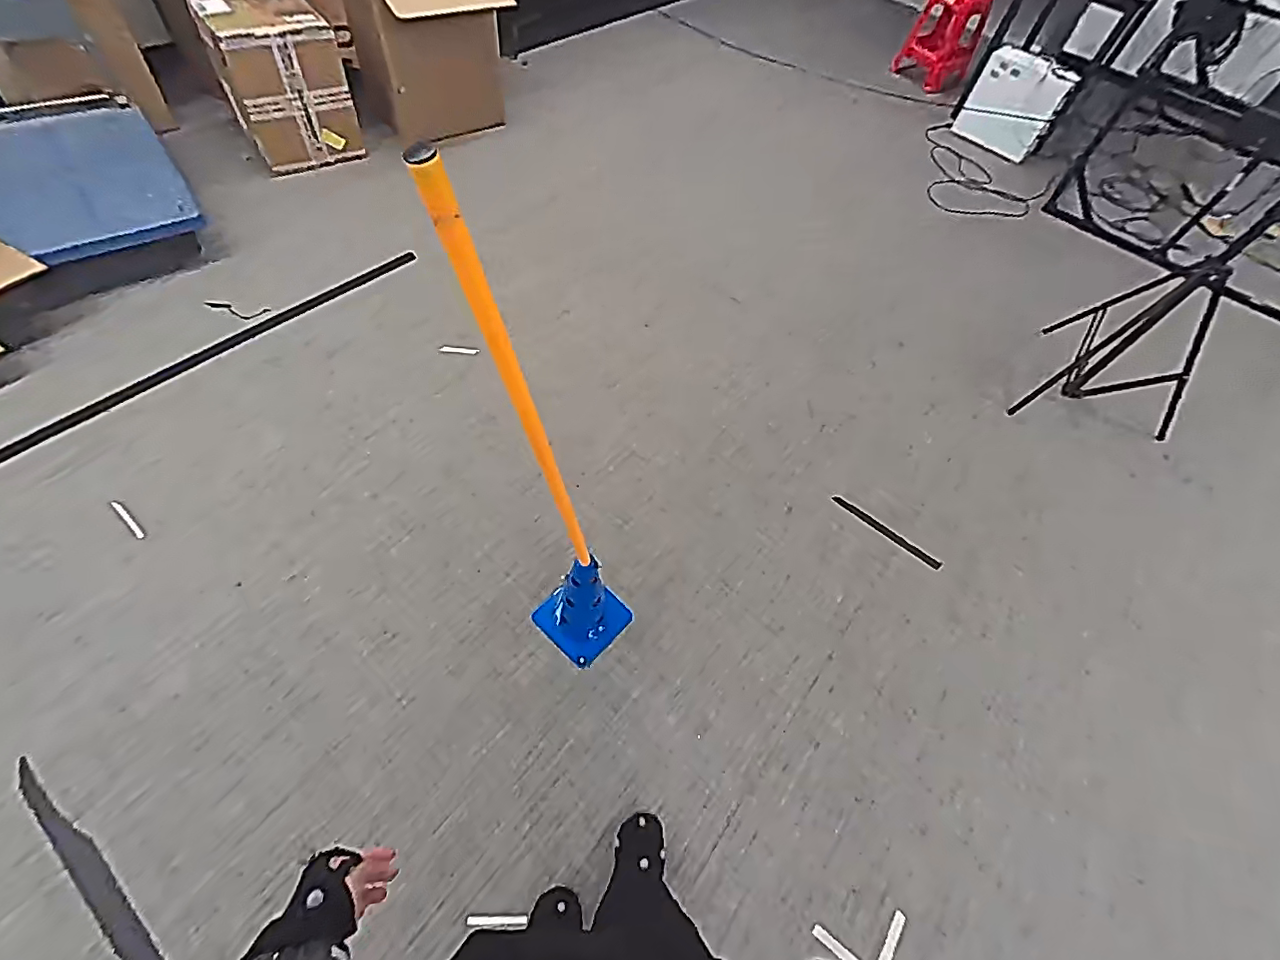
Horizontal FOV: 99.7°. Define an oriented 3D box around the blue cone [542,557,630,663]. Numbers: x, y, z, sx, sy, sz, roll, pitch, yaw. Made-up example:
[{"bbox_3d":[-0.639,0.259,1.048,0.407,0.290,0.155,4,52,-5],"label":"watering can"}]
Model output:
[{"bbox_3d":[-0.122,0.267,1.275,0.192,0.380,0.193,41,62,17],"label":"blue cone"}]
